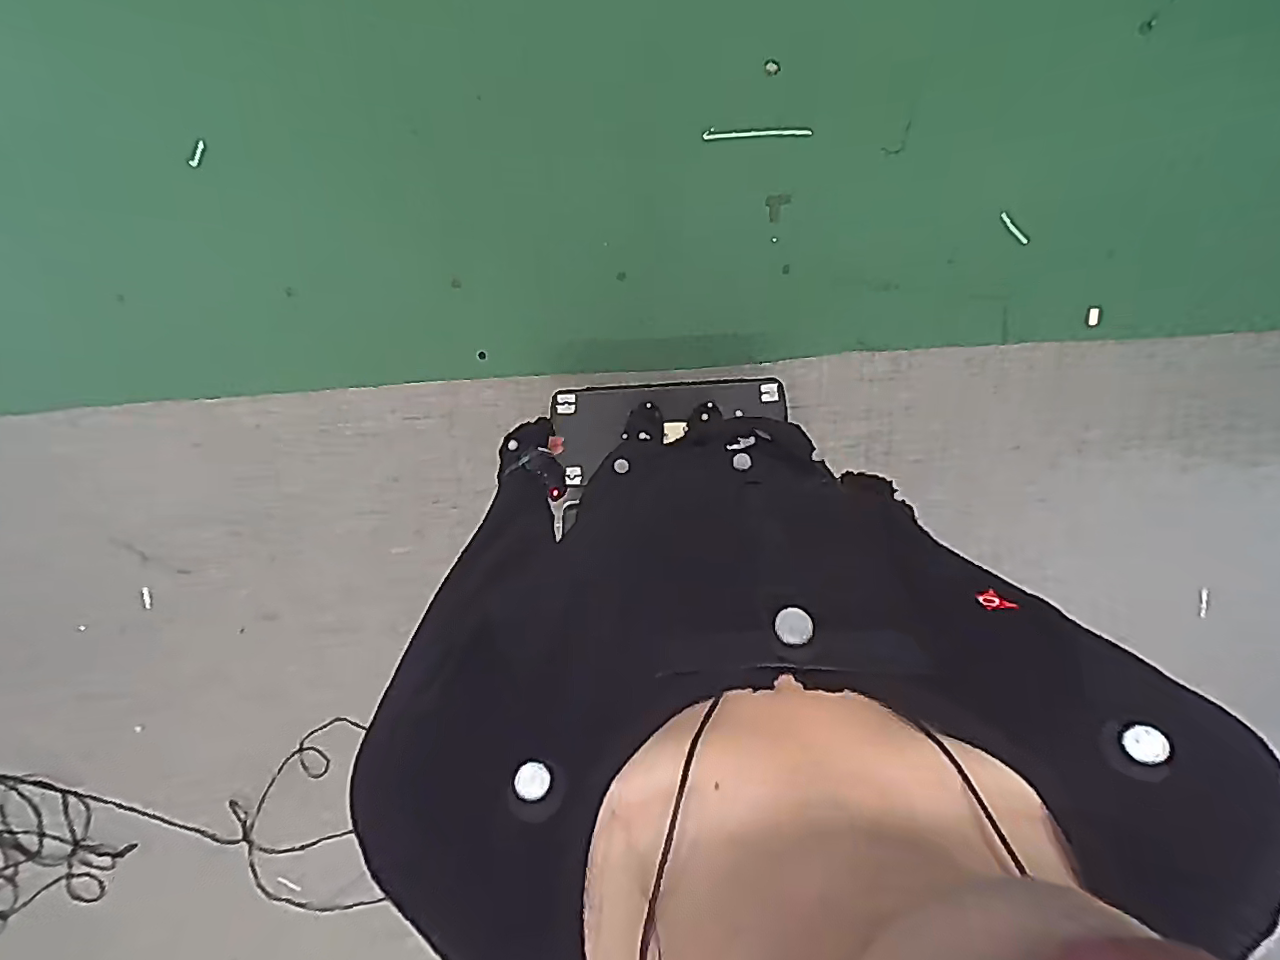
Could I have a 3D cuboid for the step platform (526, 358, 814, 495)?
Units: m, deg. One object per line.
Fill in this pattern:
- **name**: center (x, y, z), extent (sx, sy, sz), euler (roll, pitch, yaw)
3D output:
- **step platform**: center (0.072, -0.138, 1.365), extent (0.684, 0.204, 0.286), euler (-4, 98, 0)
